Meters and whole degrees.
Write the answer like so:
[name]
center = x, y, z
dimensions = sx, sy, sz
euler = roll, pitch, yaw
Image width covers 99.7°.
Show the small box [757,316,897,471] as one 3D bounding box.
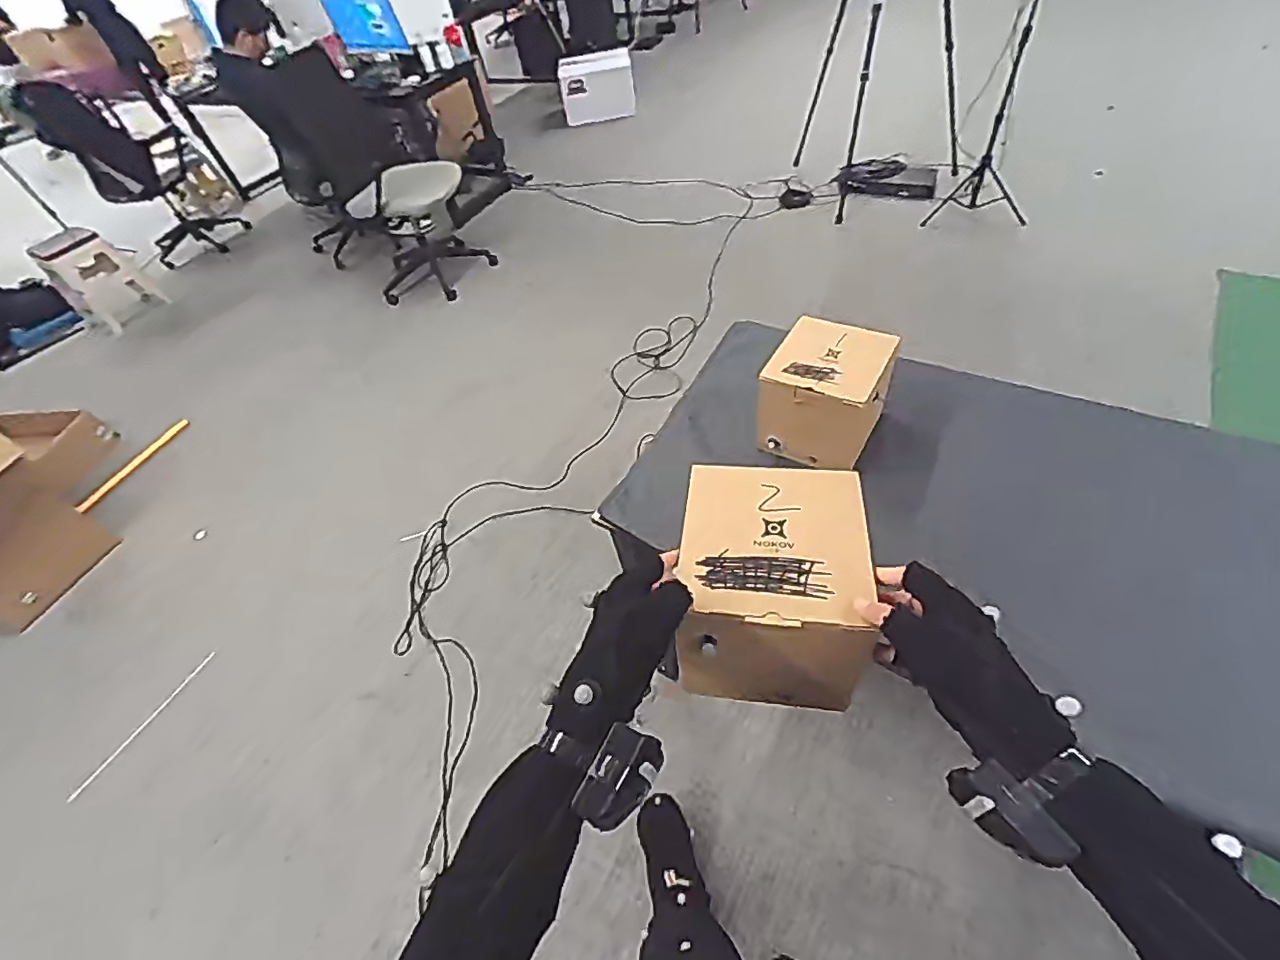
[small box]
center = 0.309, -0.144, 0.915
dimensions = 0.168, 0.176, 0.179
euler = 23, 58, 26
